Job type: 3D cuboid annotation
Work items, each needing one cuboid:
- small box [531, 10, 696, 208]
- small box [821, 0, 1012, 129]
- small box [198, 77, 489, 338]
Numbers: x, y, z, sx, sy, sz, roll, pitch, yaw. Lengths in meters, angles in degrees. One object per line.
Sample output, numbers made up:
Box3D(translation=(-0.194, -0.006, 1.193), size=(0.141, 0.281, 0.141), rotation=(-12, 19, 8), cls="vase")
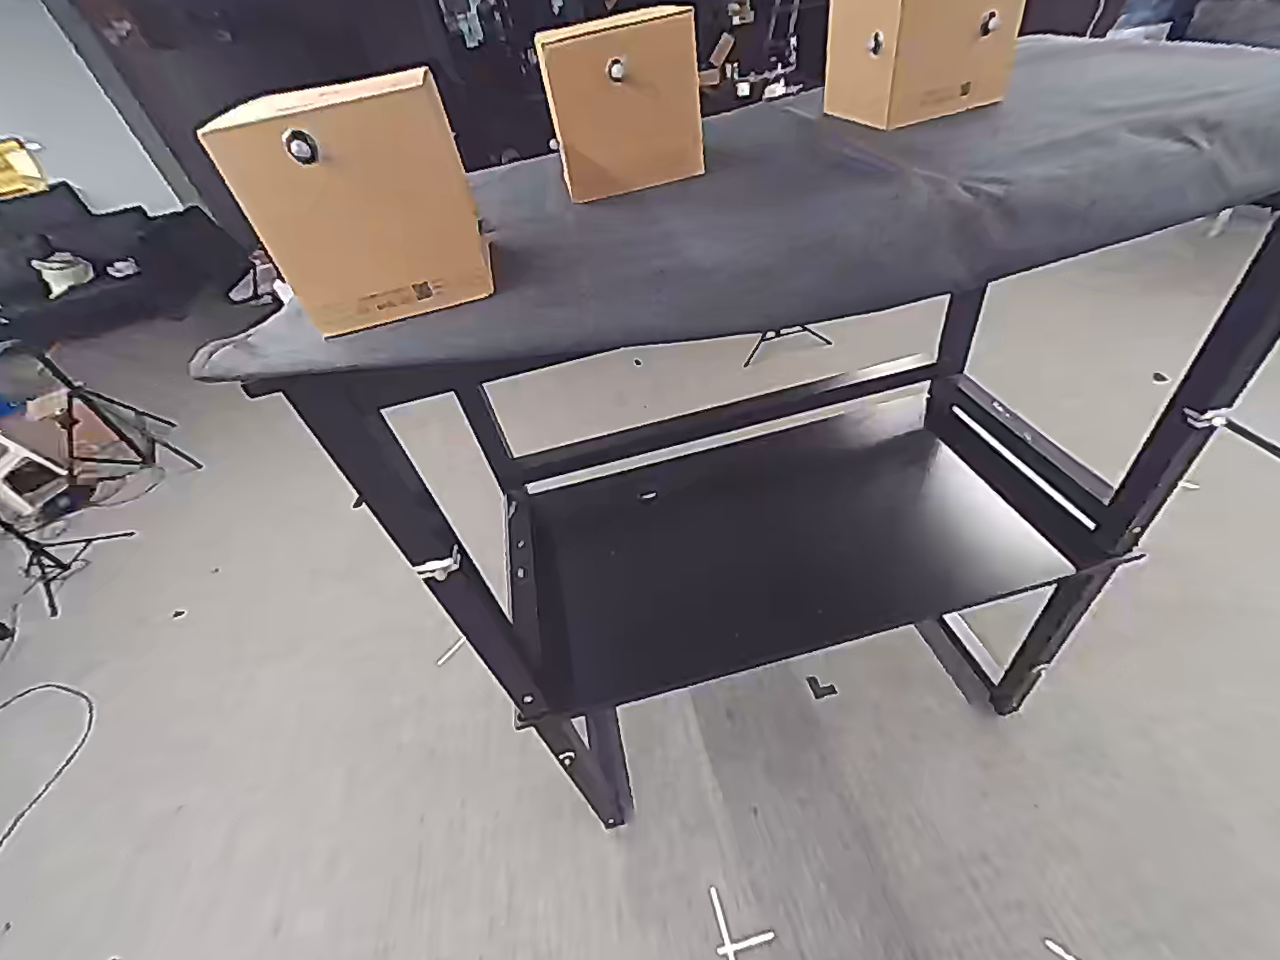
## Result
Box3D(translation=(-0.031, -0.478, 0.698), size=(0.179, 0.176, 0.168), rotation=(-15, 43, -1), cls="small box")
Box3D(translation=(0.356, -0.582, 0.712), size=(0.168, 0.176, 0.179), rotation=(-16, 43, -4), cls="small box")
Box3D(translation=(-0.250, -0.259, 0.512), size=(0.168, 0.176, 0.179), rotation=(-17, 42, -4), cls="small box")
